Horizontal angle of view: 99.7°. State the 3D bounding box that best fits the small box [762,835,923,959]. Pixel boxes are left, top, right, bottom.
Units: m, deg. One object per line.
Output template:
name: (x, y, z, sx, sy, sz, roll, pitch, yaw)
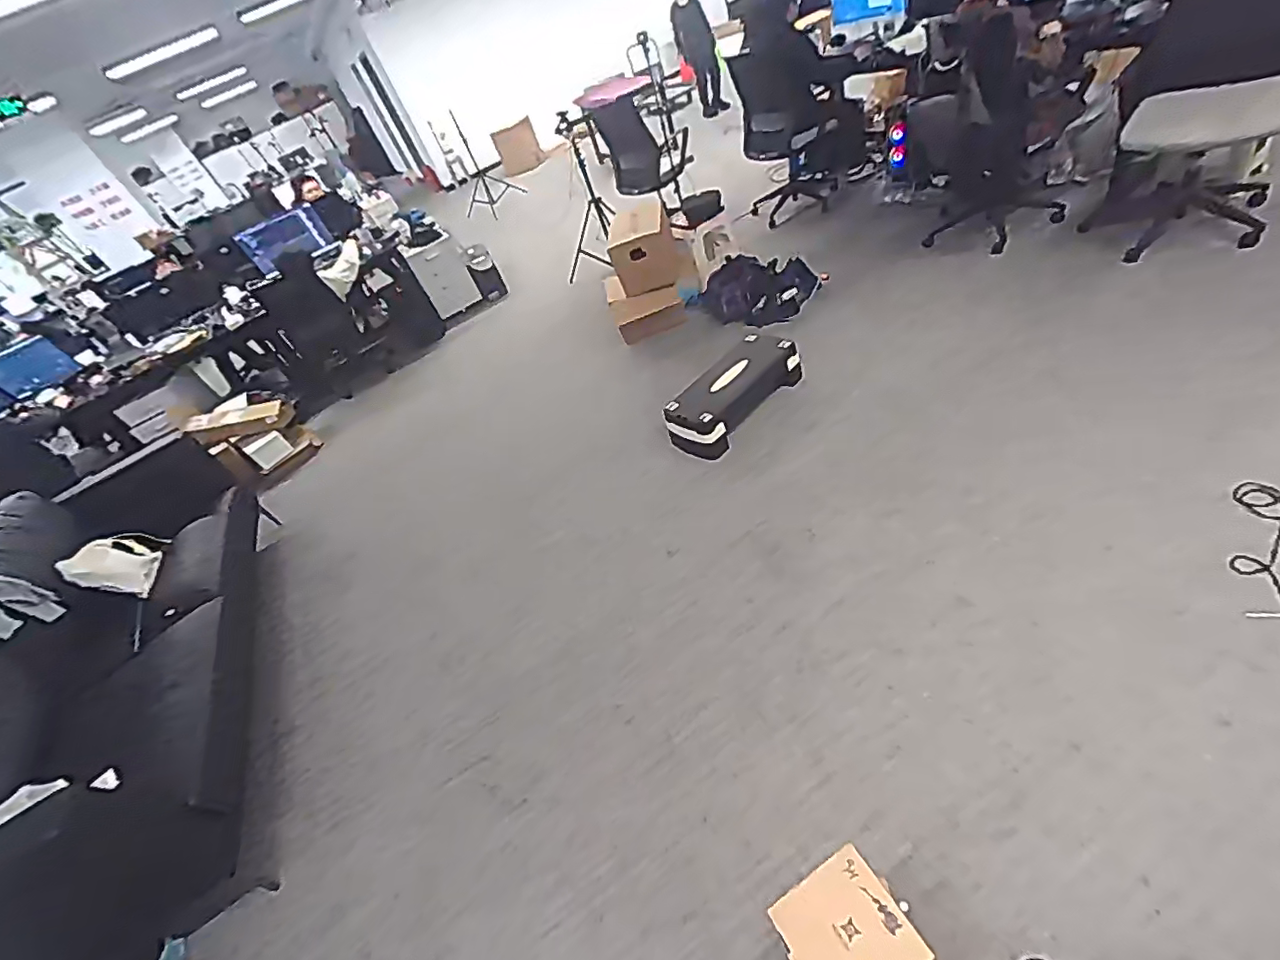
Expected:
small box: (0.327, 0.719, 0.866, 0.179, 0.176, 0.168, -33, 42, -6)
